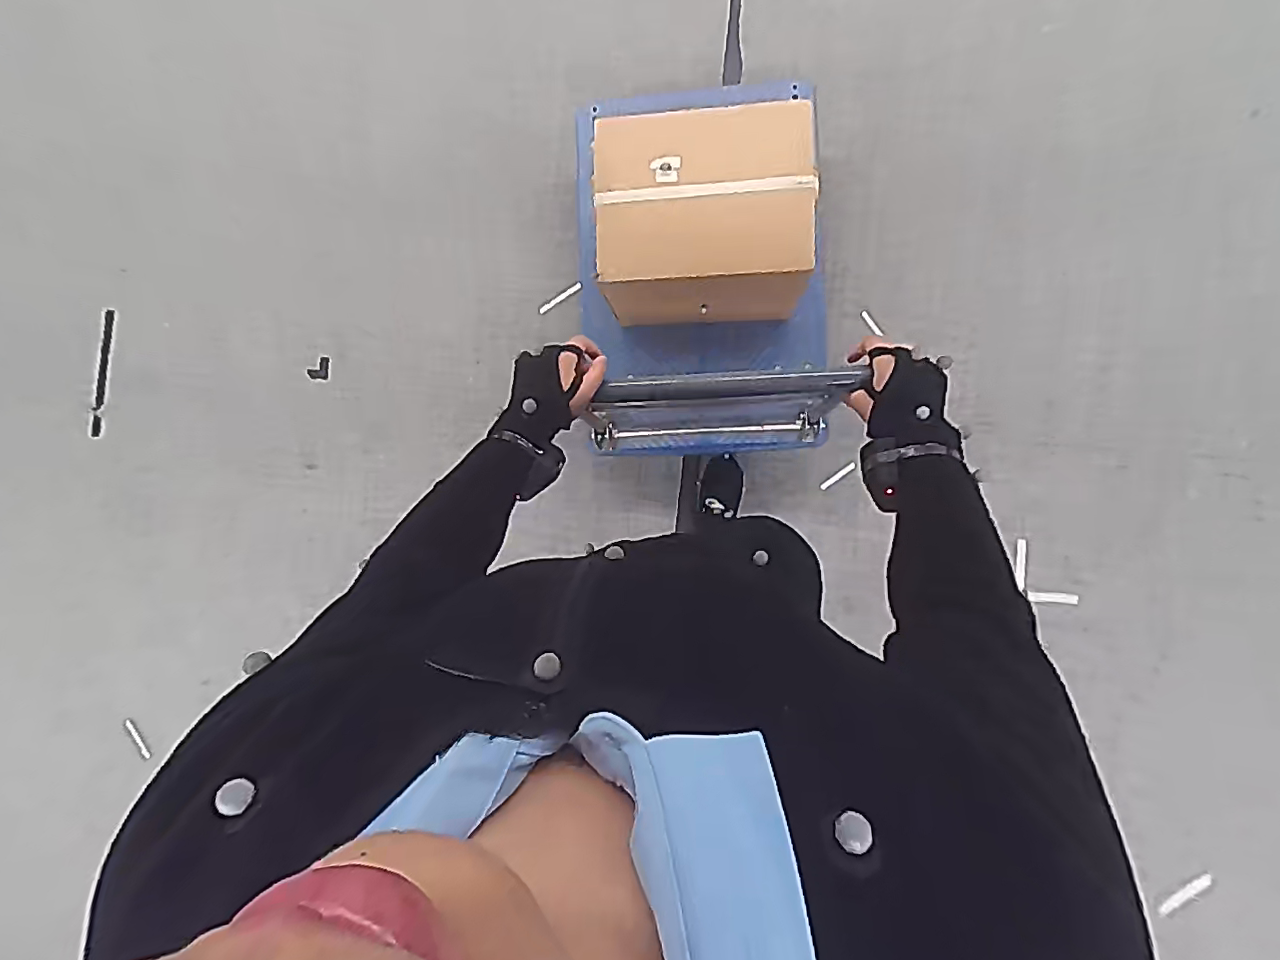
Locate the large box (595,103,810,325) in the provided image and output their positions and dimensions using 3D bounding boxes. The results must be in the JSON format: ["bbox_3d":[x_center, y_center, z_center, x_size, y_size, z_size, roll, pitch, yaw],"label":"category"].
[{"bbox_3d":[0.134,-0.541,1.173,0.408,0.320,0.320,-1,89,8],"label":"large box"}]
